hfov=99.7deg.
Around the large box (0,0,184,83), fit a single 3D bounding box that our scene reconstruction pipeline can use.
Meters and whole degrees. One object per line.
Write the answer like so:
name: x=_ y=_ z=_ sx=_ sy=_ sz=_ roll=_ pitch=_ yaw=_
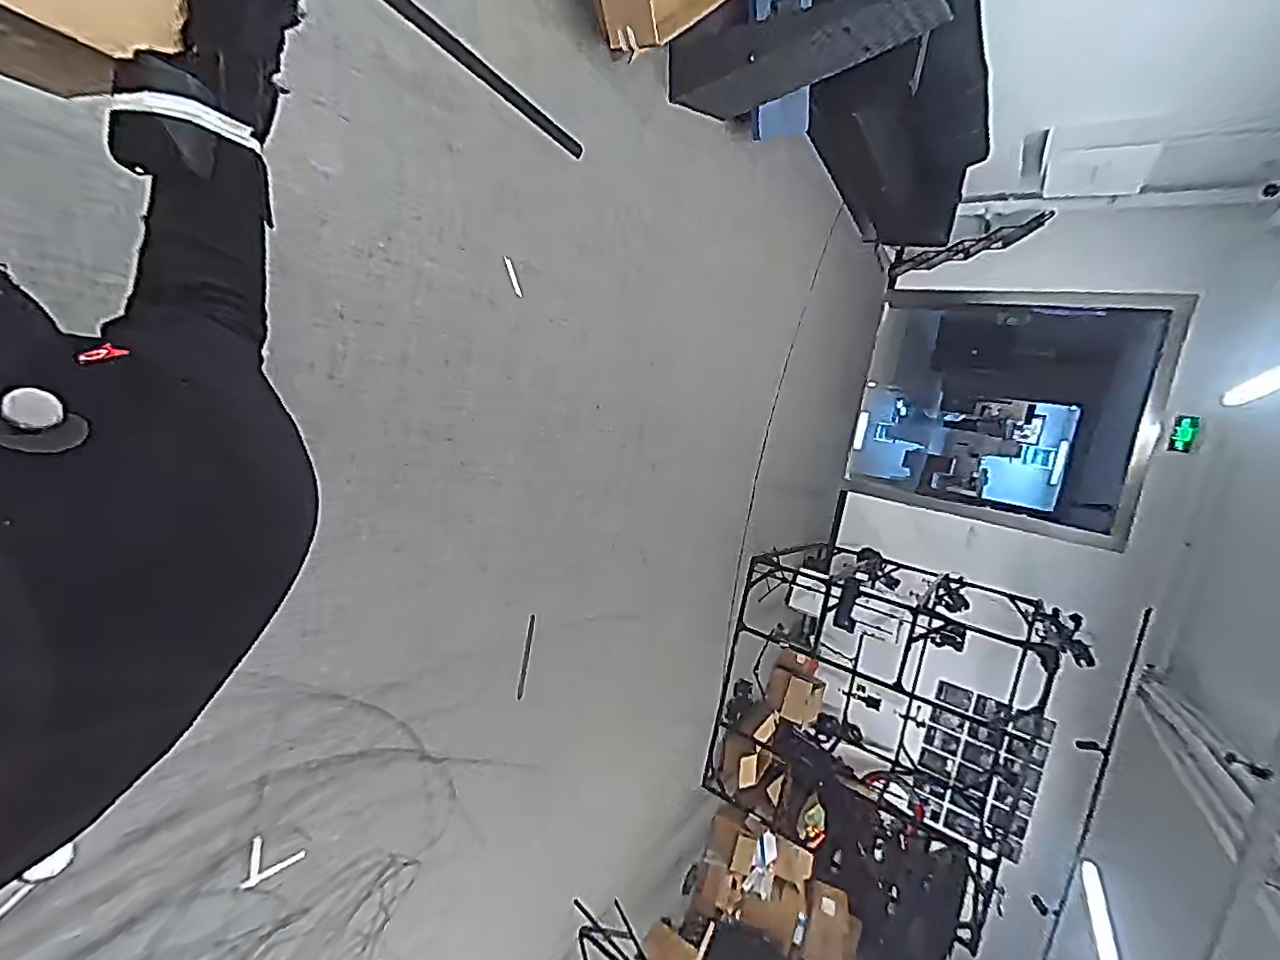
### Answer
large box: x=-0.525 y=-0.478 z=0.269 sx=0.408 sy=0.320 sz=0.320 roll=-4 pitch=113 yaw=-58
